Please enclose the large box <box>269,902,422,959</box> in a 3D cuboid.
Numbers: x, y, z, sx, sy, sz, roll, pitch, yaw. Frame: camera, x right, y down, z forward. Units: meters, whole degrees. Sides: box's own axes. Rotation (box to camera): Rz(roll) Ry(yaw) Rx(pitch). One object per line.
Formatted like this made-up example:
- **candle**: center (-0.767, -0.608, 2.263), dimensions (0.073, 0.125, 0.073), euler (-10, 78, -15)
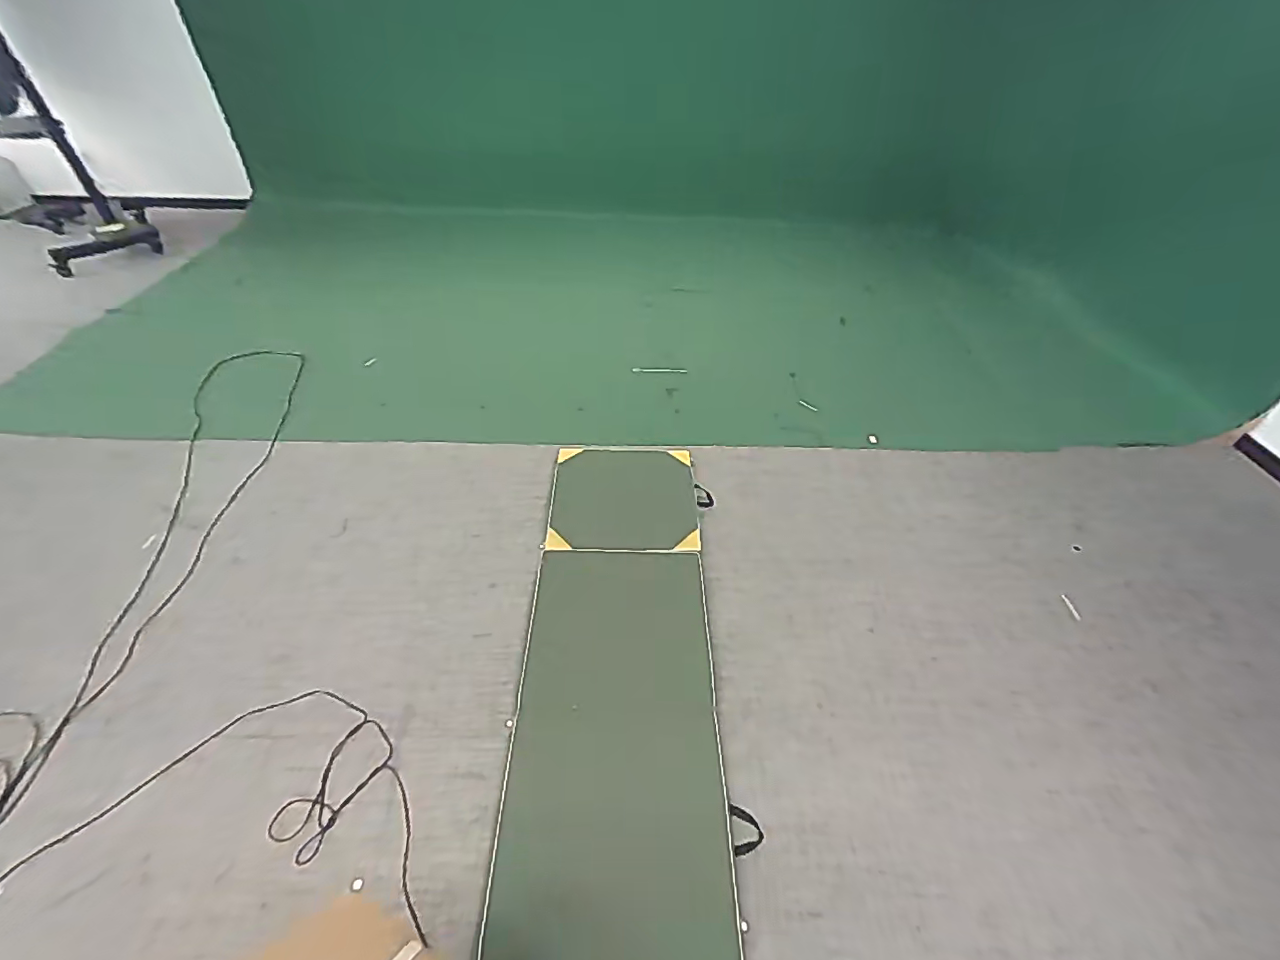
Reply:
- **large box**: center (-0.469, 0.870, 0.668), dimensions (0.320, 0.408, 0.320), euler (24, 87, 17)
